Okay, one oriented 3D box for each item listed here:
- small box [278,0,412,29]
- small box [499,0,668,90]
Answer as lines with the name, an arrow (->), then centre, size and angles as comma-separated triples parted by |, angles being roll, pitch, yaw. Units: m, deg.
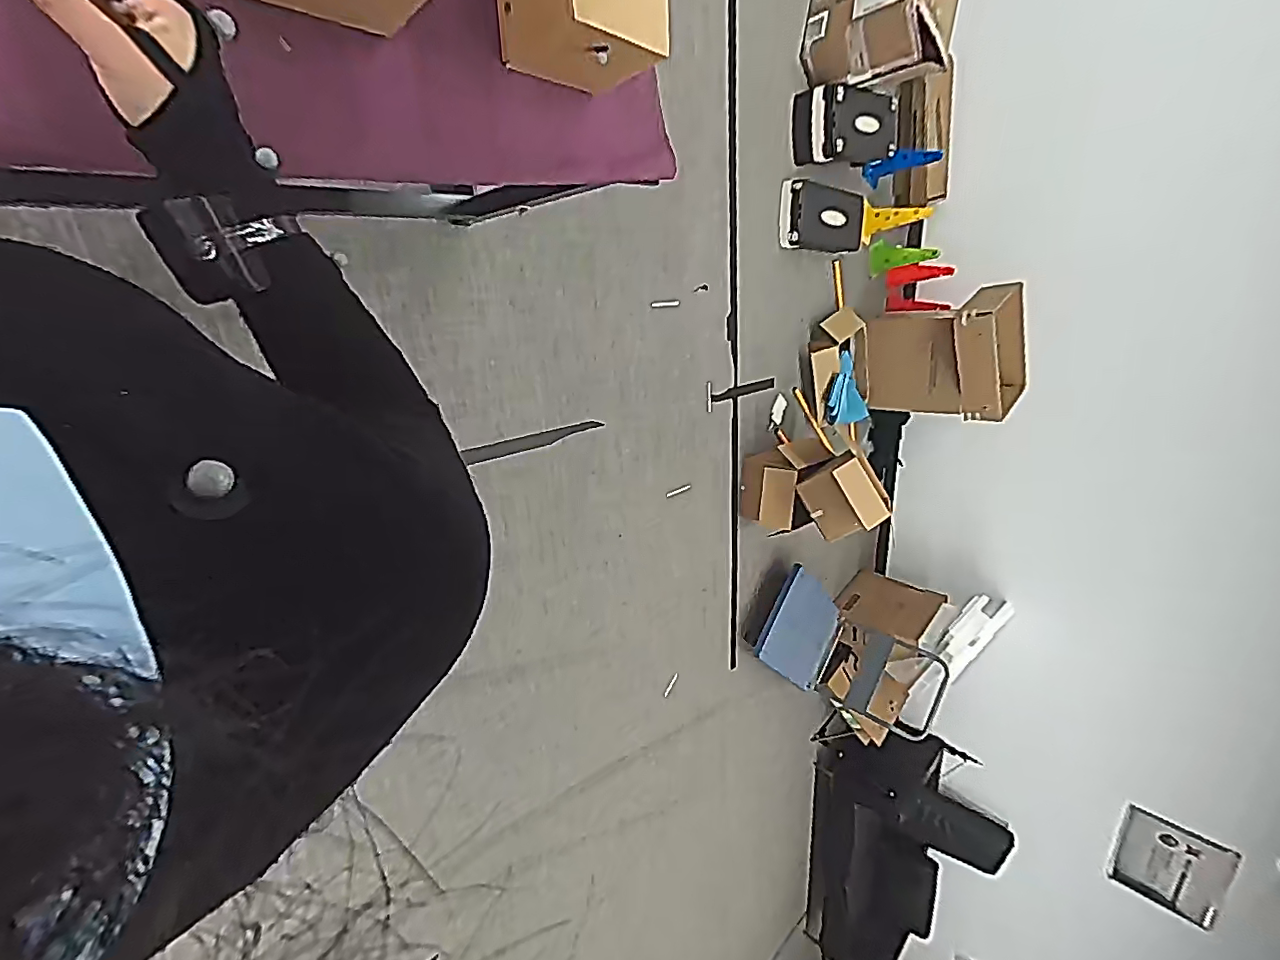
small box -> -0.318, -0.593, 0.536 | 0.179, 0.176, 0.168 | -18, 115, -42
small box -> -0.079, -0.679, 0.756 | 0.179, 0.176, 0.168 | -17, 113, -41
